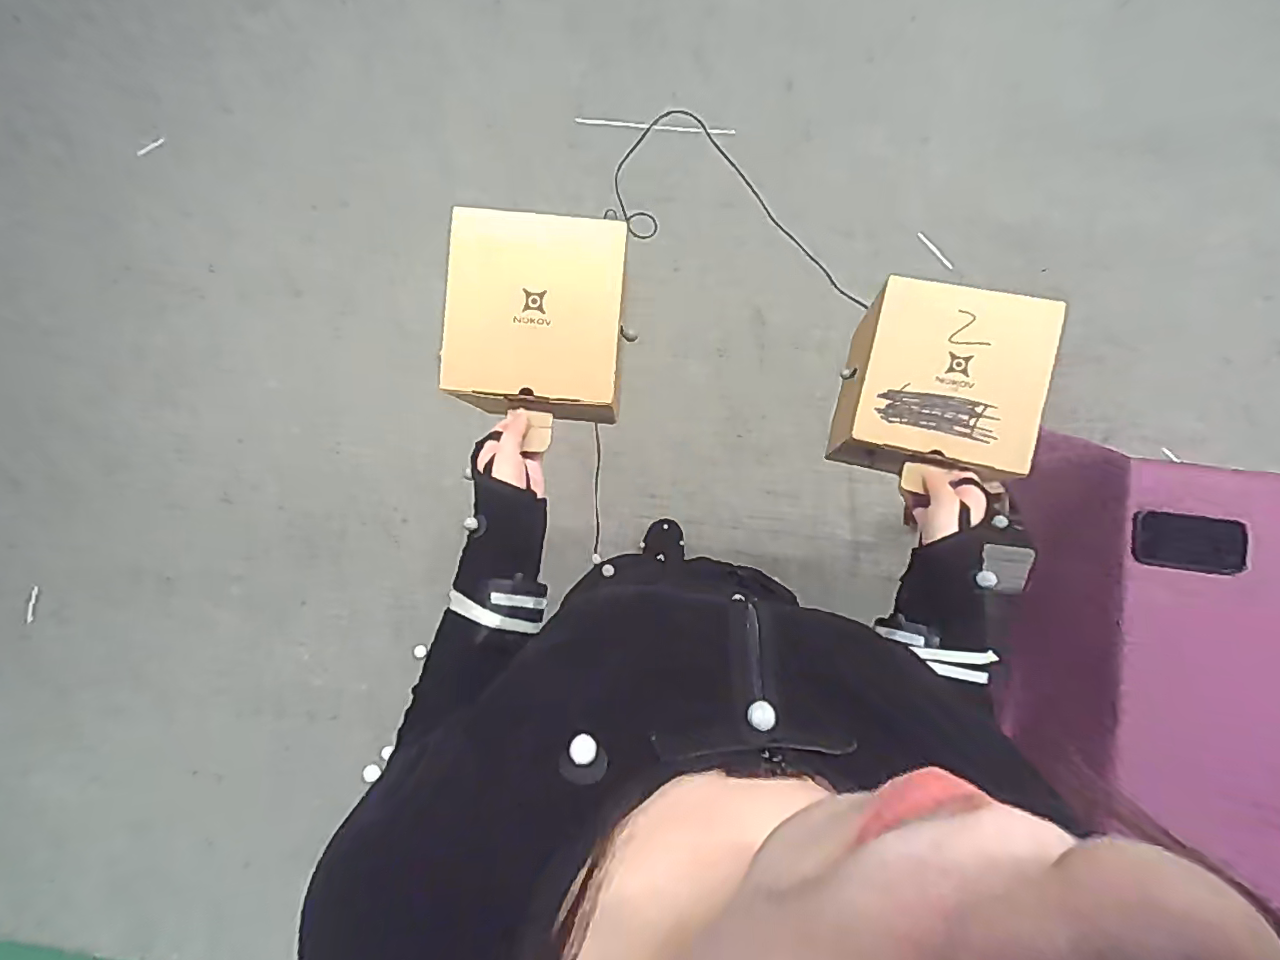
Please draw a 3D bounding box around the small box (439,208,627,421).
[{"bbox_3d":[-0.105,-0.166,0.595,0.168,0.176,0.179,5,92,-2],"label":"small box"}]
